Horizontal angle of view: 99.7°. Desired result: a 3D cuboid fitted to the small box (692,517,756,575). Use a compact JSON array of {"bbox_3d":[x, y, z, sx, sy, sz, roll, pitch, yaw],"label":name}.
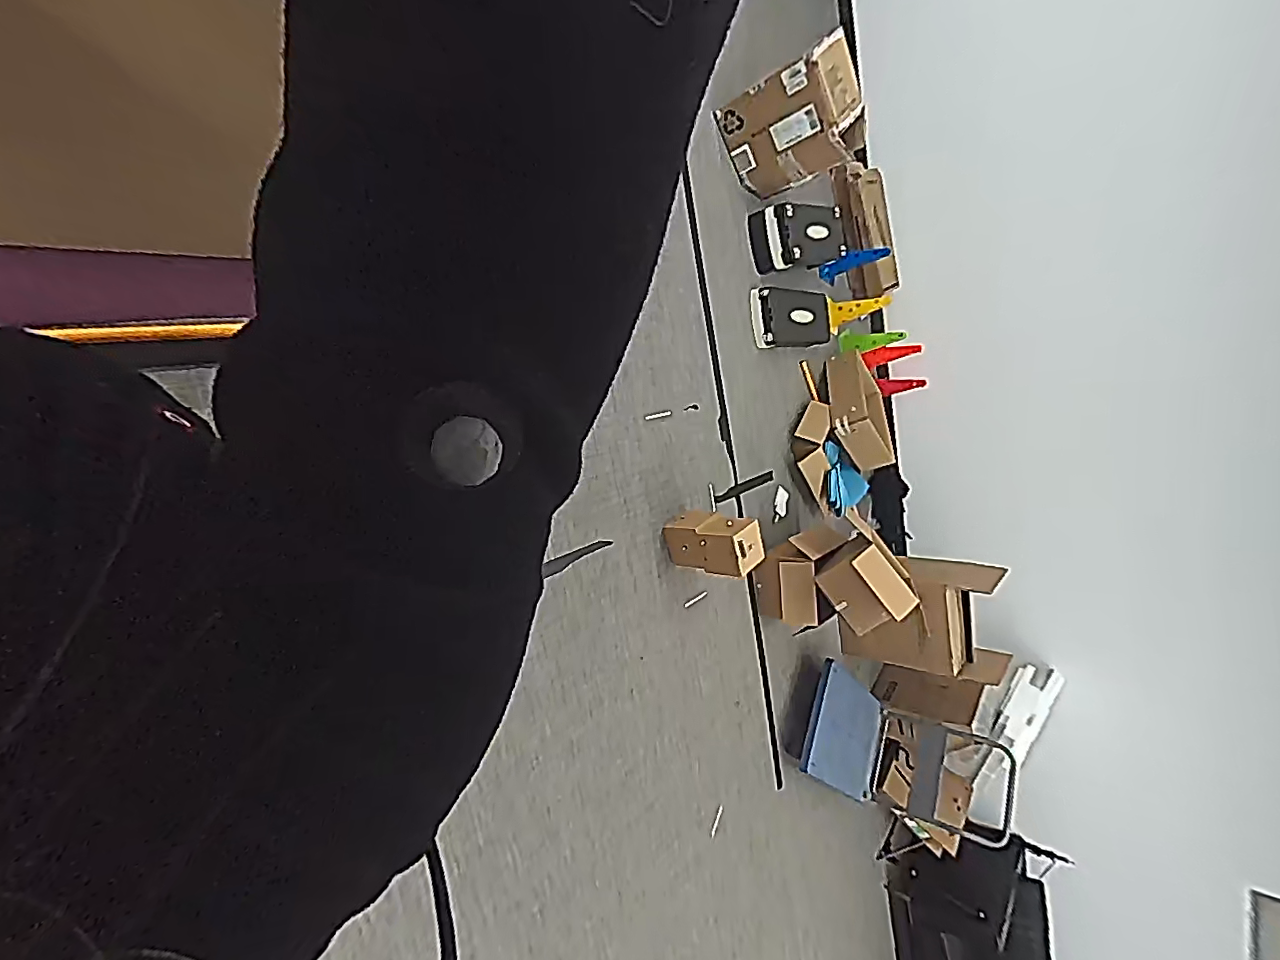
[{"bbox_3d":[0.316,0.250,2.068,0.179,0.176,0.168,-27,109,-44],"label":"small box"}]
